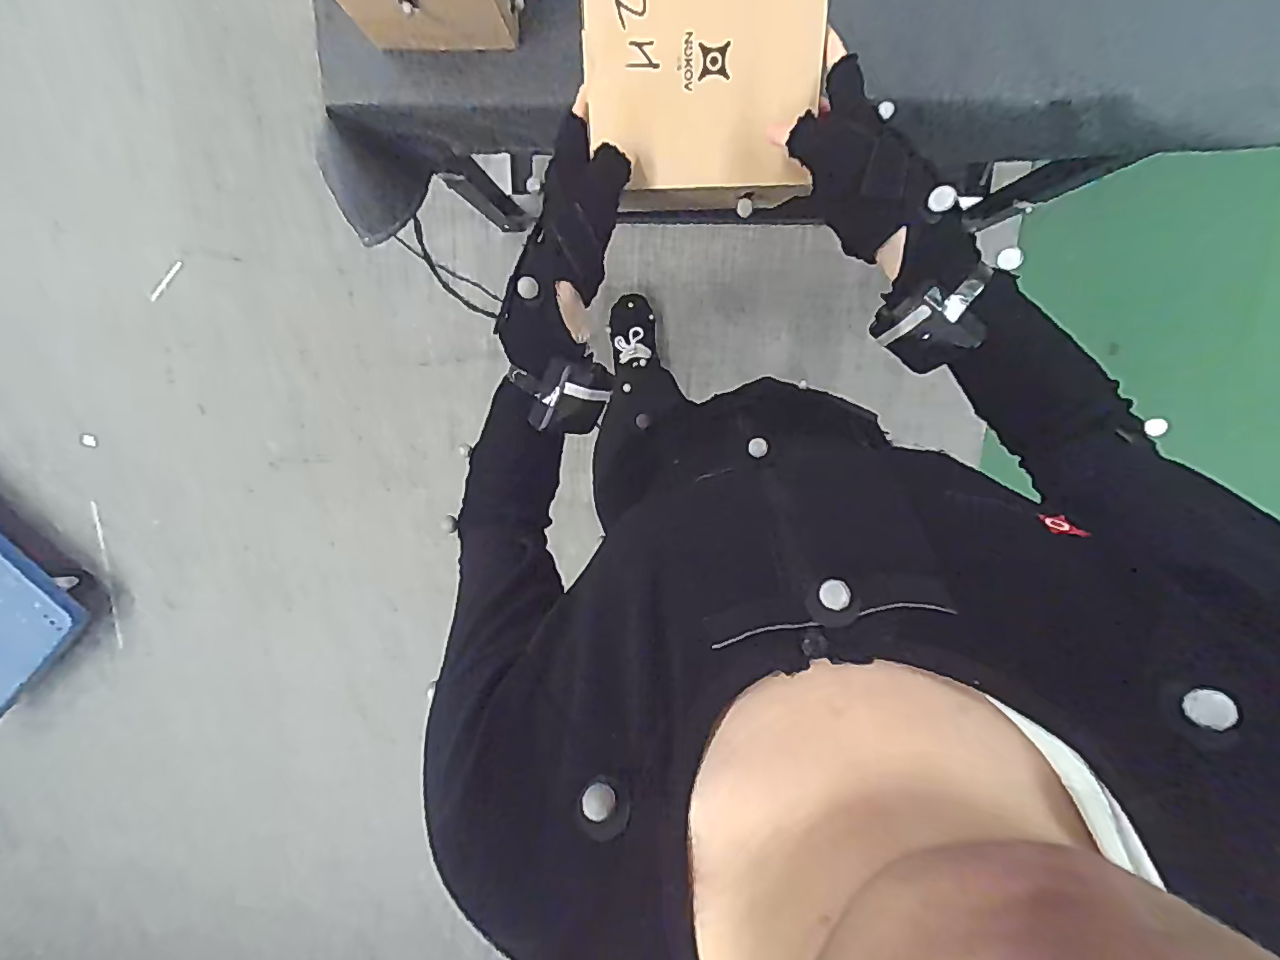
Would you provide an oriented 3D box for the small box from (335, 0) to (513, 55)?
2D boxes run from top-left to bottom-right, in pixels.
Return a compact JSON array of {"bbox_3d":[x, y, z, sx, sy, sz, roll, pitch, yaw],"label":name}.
[{"bbox_3d":[-0.235,-0.584,0.567,0.179,0.176,0.168,2,101,2],"label":"small box"}]
